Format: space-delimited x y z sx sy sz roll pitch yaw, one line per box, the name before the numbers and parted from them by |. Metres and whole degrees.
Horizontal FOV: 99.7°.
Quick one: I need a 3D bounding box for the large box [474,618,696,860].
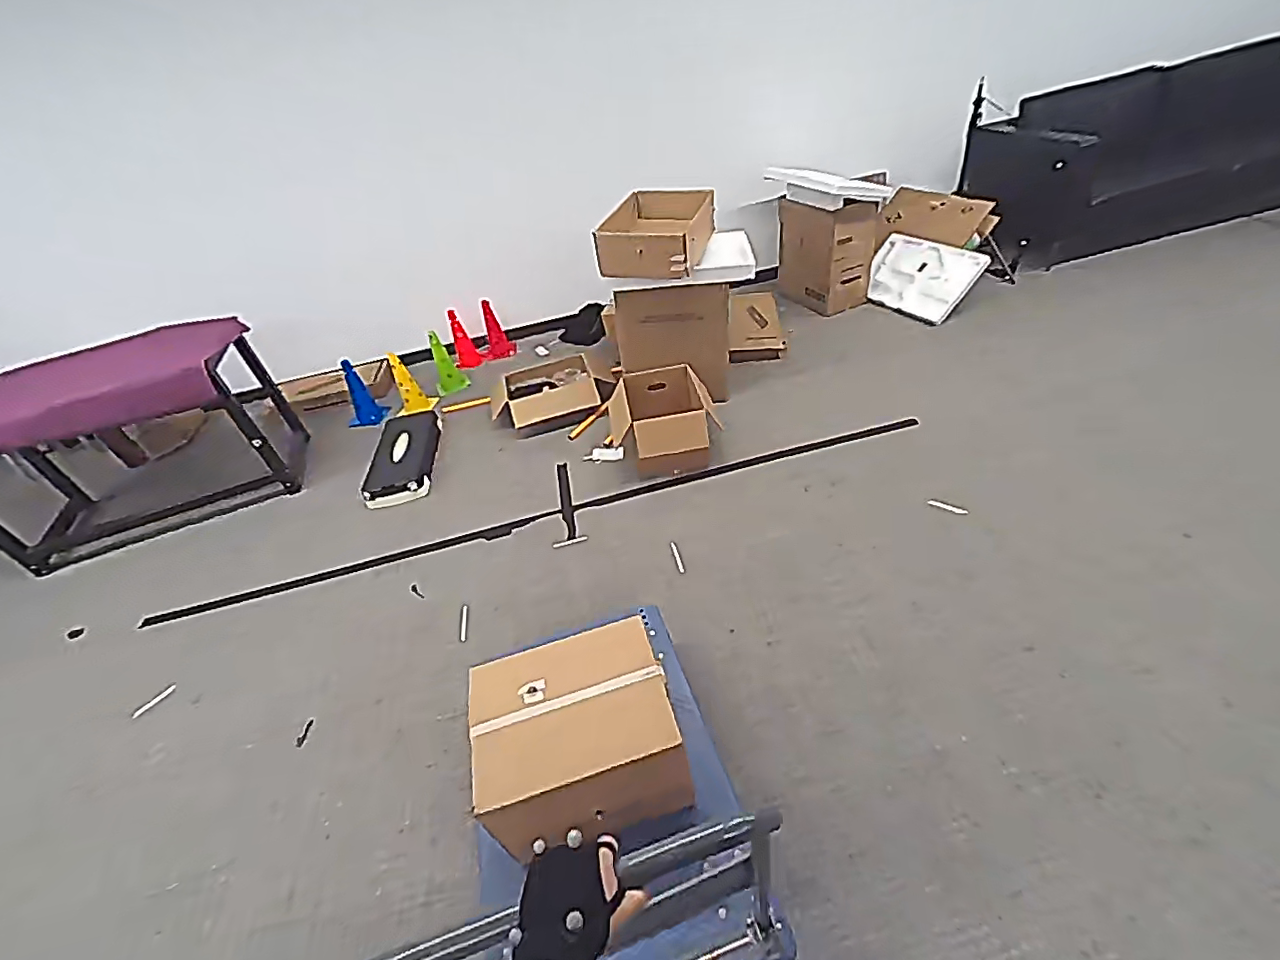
large box | -0.121 0.580 1.224 0.408 0.320 0.320 -17 39 -6
